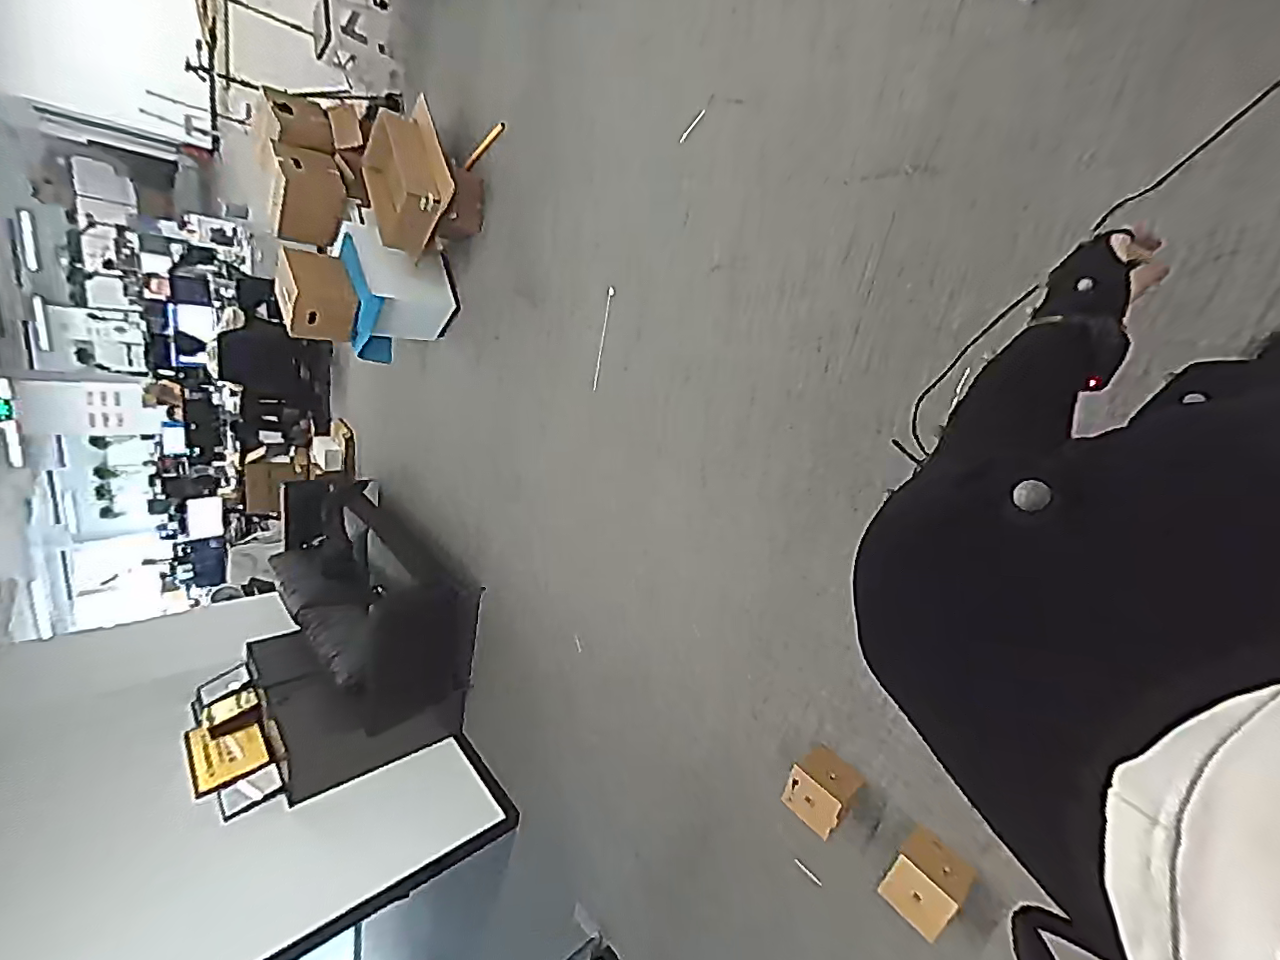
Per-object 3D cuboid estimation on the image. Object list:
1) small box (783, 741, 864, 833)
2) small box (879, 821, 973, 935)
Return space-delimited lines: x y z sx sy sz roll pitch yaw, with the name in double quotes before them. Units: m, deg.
"small box" 0.612 1.005 1.791 0.179 0.176 0.168 30 116 40
"small box" 0.837 1.147 1.574 0.168 0.176 0.179 34 119 39
